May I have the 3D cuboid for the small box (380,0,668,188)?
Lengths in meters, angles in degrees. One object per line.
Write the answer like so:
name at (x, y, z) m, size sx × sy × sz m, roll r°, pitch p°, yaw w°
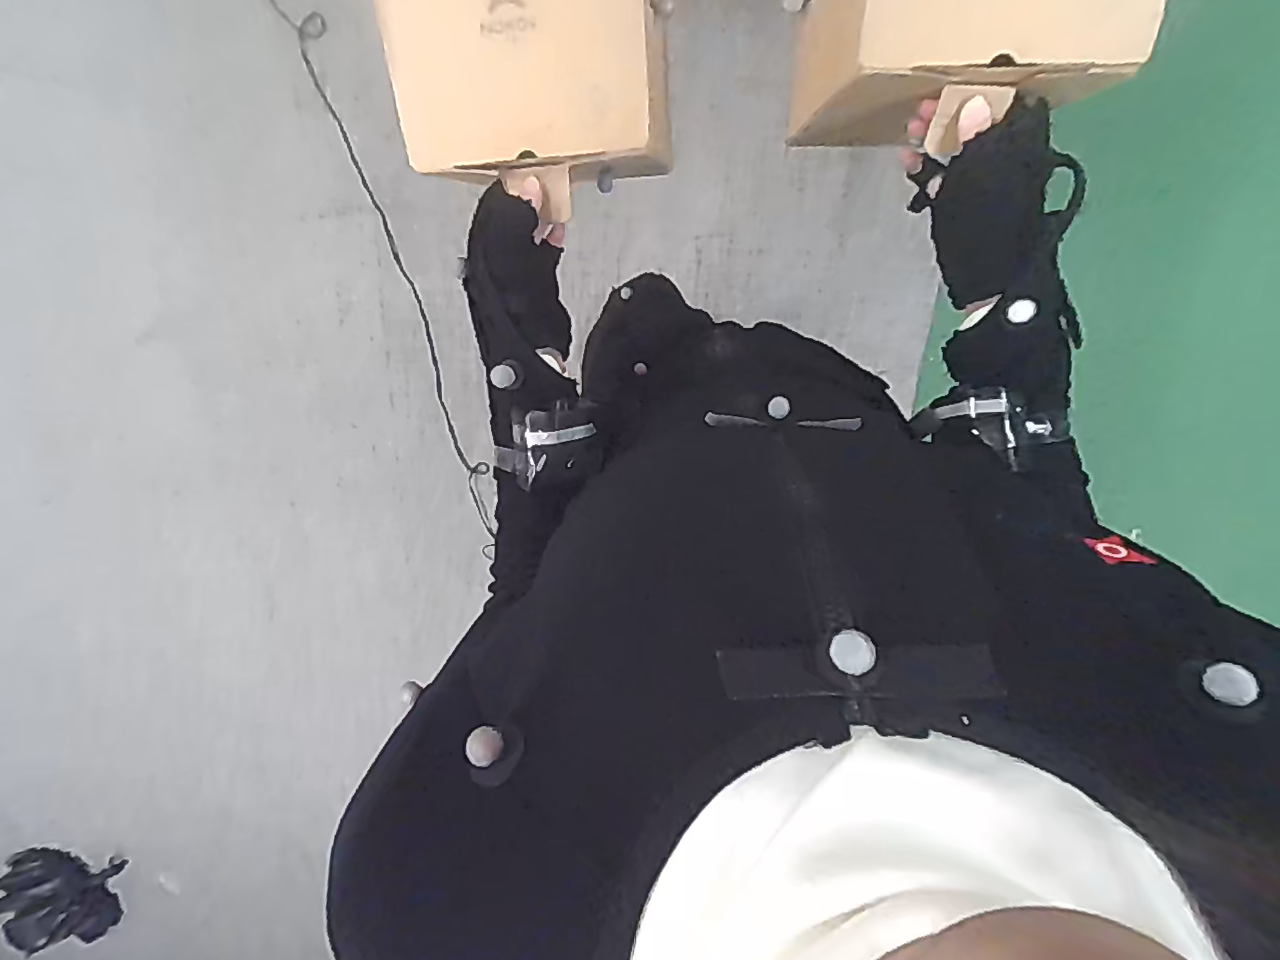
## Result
small box at (-0.070, -0.324, 0.403) m, size 0.168 × 0.176 × 0.179 m, roll -1°, pitch 114°, yaw 8°
